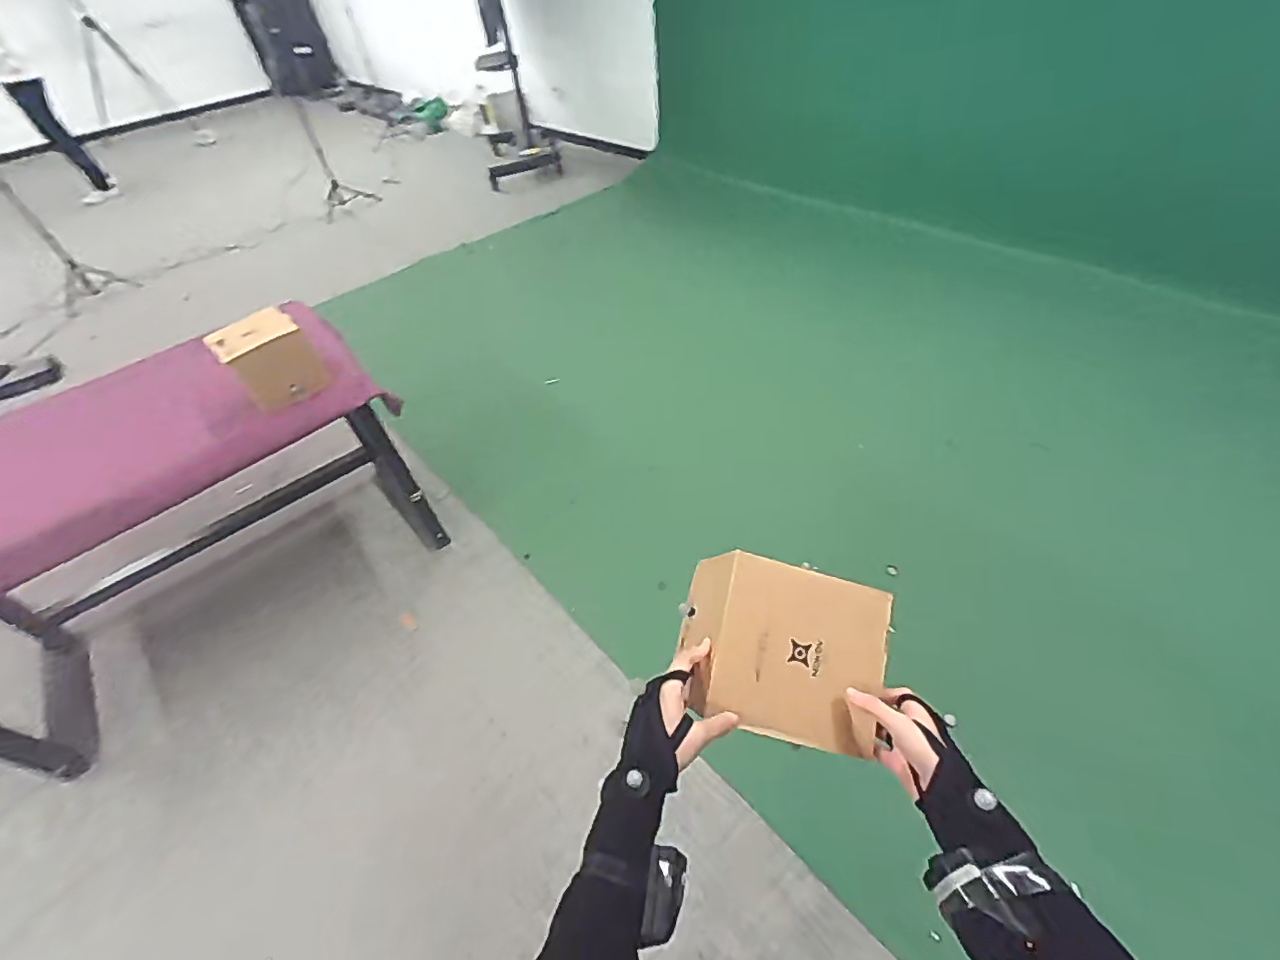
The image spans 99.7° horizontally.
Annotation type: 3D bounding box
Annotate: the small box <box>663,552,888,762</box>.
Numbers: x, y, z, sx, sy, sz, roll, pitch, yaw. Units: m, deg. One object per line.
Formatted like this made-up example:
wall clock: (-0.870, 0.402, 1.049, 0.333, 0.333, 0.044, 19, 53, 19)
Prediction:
small box: (0.141, 0.188, 0.604, 0.179, 0.176, 0.168, 16, 74, -5)

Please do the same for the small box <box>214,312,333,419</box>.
small box: (-0.905, -0.286, 1.355, 0.179, 0.176, 0.168, -38, 54, -25)
